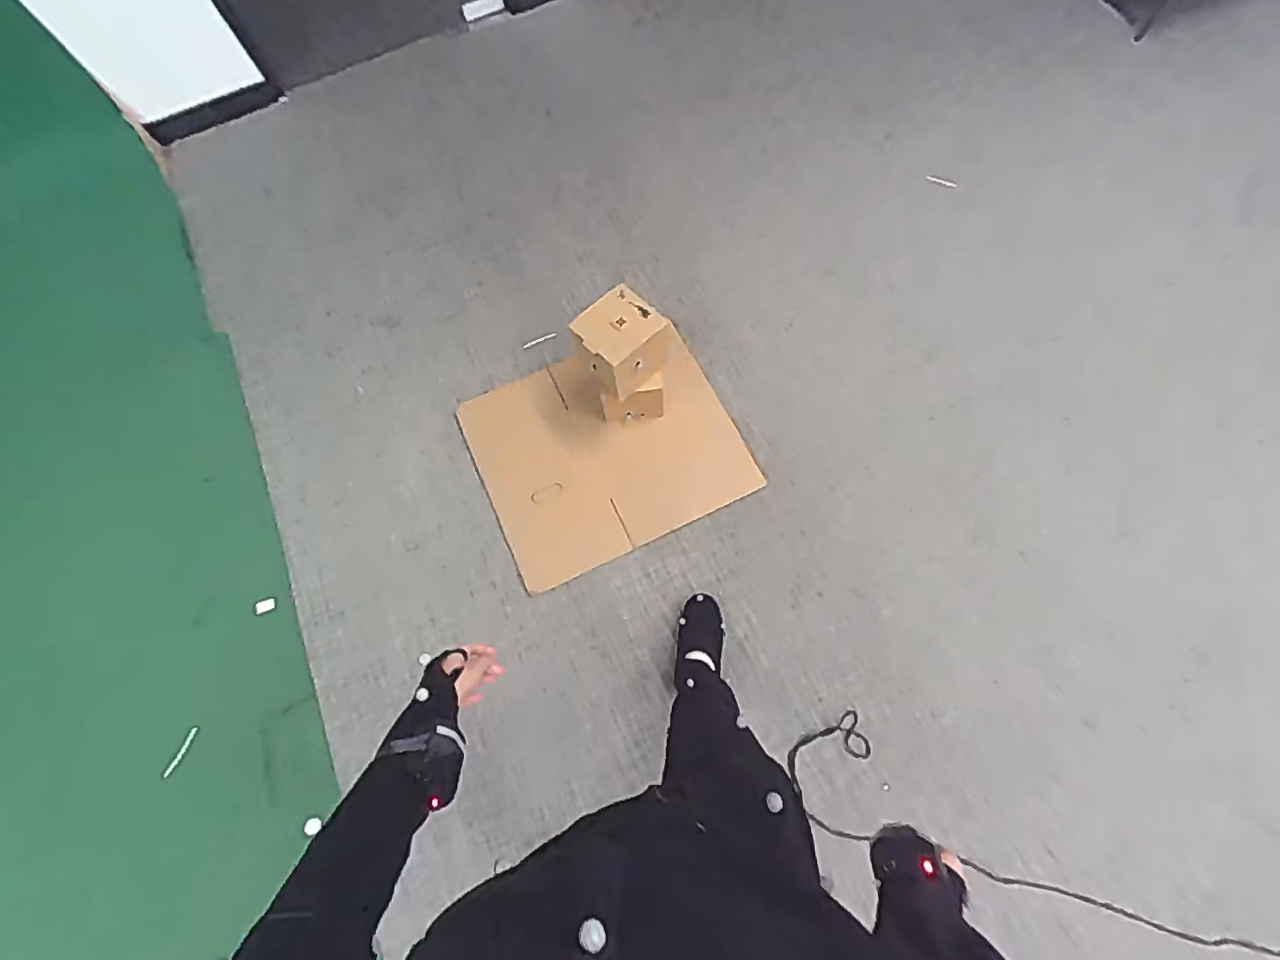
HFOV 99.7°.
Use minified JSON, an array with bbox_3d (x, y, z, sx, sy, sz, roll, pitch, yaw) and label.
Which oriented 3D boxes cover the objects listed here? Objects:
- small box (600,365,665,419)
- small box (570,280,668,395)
[{"bbox_3d":[-0.023,-0.286,1.481,0.168,0.176,0.179,-7,71,1],"label":"small box"},{"bbox_3d":[-0.043,-0.342,1.328,0.179,0.176,0.168,-42,73,-10],"label":"small box"}]
